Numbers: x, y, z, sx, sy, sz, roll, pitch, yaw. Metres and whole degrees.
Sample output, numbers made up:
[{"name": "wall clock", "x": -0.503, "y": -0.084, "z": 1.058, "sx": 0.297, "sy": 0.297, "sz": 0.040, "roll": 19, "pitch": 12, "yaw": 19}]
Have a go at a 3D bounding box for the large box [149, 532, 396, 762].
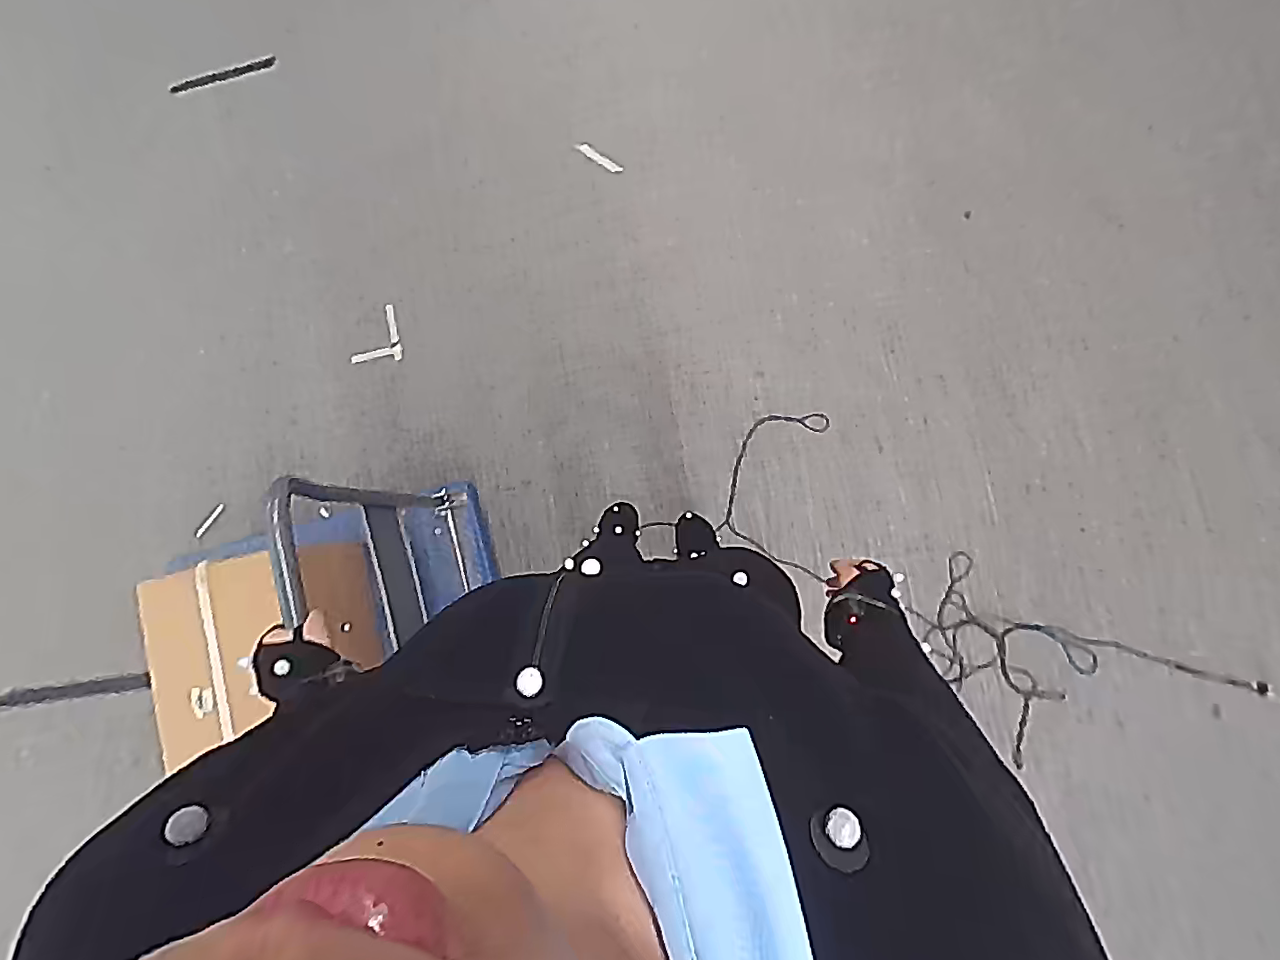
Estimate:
[{"name": "large box", "x": -0.820, "y": 0.355, "z": 1.252, "sx": 0.320, "sy": 0.320, "sz": 0.408, "roll": -13, "pitch": 86, "yaw": 5}]
